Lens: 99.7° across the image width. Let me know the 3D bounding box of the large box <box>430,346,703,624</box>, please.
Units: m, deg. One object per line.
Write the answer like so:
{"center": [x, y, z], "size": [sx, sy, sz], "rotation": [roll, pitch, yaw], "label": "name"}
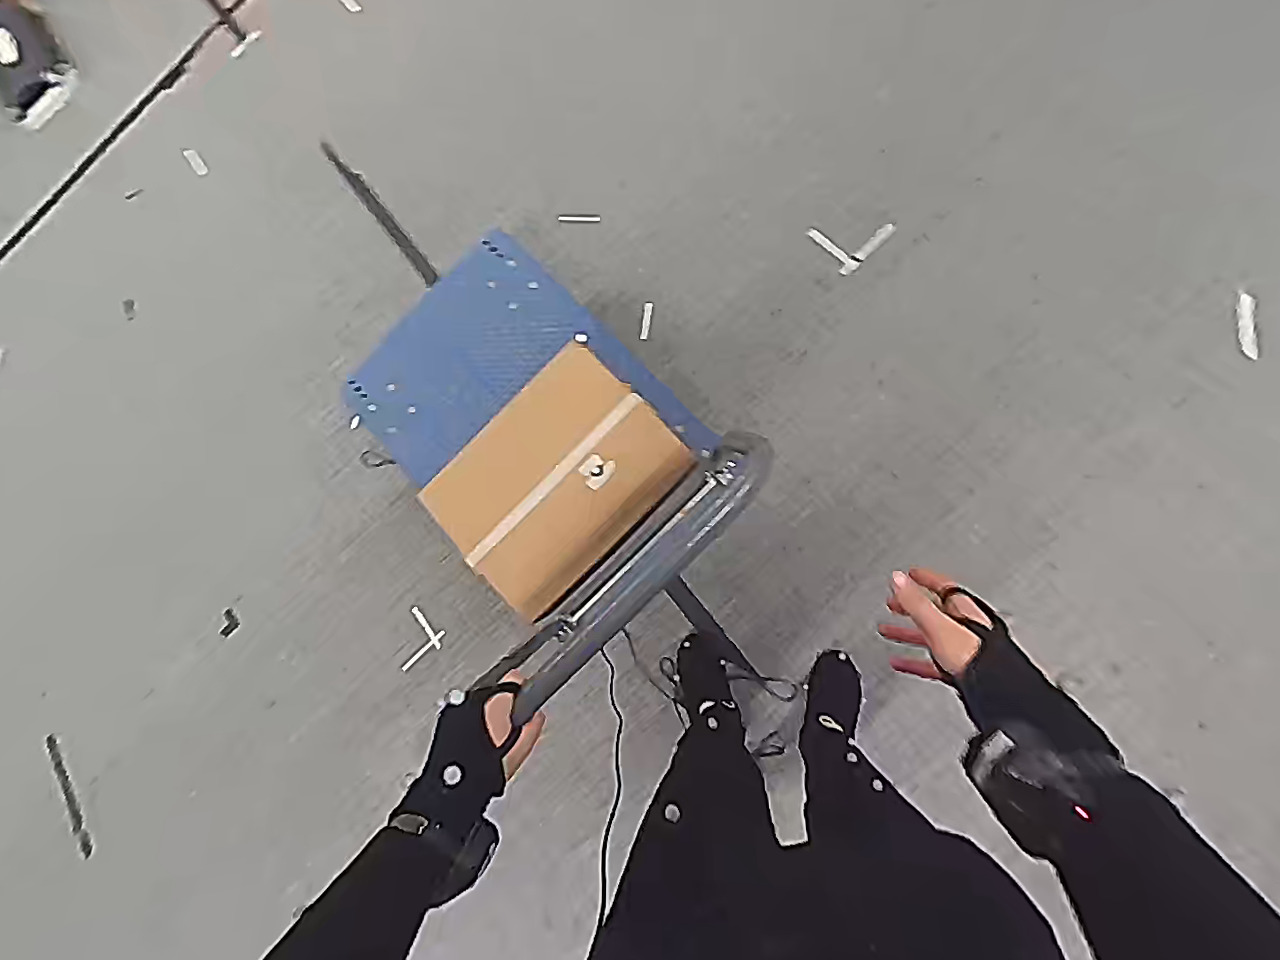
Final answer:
{"center": [-0.121, 0.020, 1.090], "size": [0.408, 0.320, 0.320], "rotation": [-45, 81, 2], "label": "large box"}
